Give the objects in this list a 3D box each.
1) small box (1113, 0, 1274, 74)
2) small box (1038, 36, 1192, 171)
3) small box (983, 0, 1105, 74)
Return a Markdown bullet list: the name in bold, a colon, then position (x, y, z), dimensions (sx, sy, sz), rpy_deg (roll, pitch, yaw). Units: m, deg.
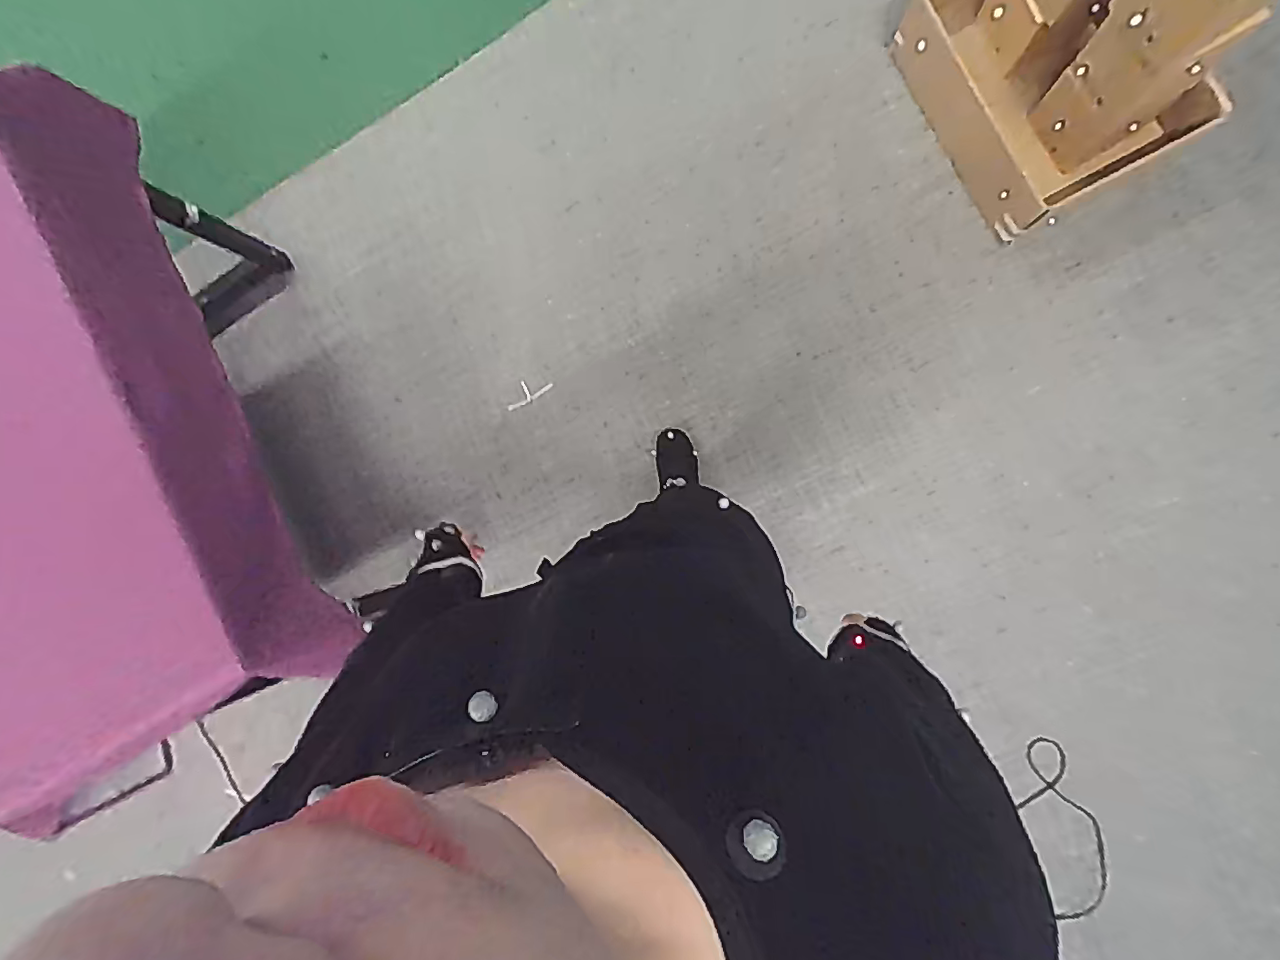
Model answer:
- **small box**: position (0.951, -0.835, 0.887), dimensions (0.179, 0.176, 0.168), rpy_deg (-31, 84, 10)
- **small box**: position (1.035, -0.836, 1.204), dimensions (0.179, 0.176, 0.168), rpy_deg (-27, 85, 9)
- **small box**: position (0.917, -1.082, 1.226), dimensions (0.179, 0.176, 0.168), rpy_deg (-23, 87, 9)
